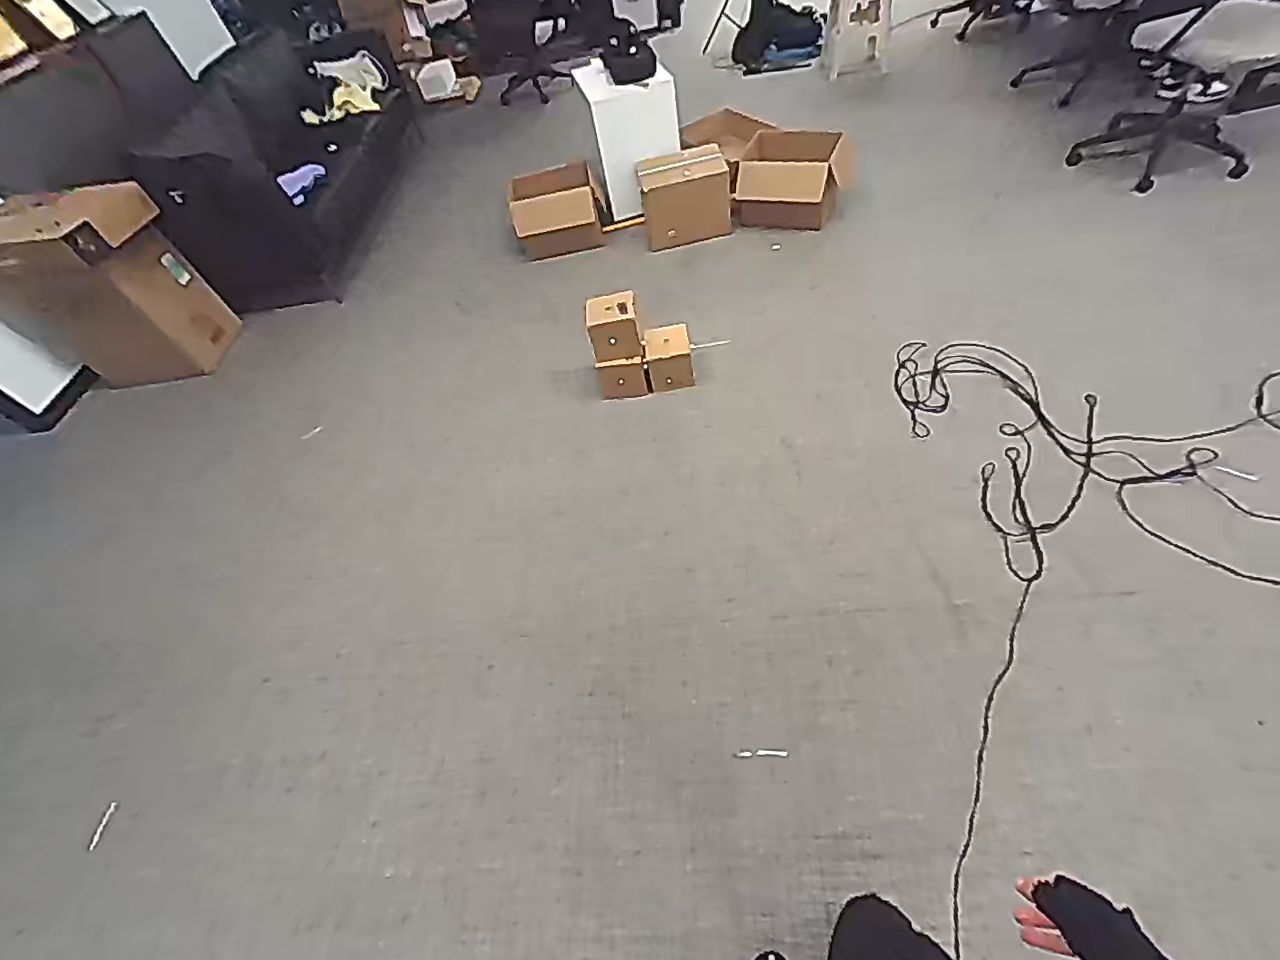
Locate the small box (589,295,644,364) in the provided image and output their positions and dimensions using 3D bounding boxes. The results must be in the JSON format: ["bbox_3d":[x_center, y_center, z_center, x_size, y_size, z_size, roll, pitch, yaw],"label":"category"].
[{"bbox_3d":[-0.081,-0.550,1.988,0.179,0.176,0.168,-9,51,7],"label":"small box"}]
